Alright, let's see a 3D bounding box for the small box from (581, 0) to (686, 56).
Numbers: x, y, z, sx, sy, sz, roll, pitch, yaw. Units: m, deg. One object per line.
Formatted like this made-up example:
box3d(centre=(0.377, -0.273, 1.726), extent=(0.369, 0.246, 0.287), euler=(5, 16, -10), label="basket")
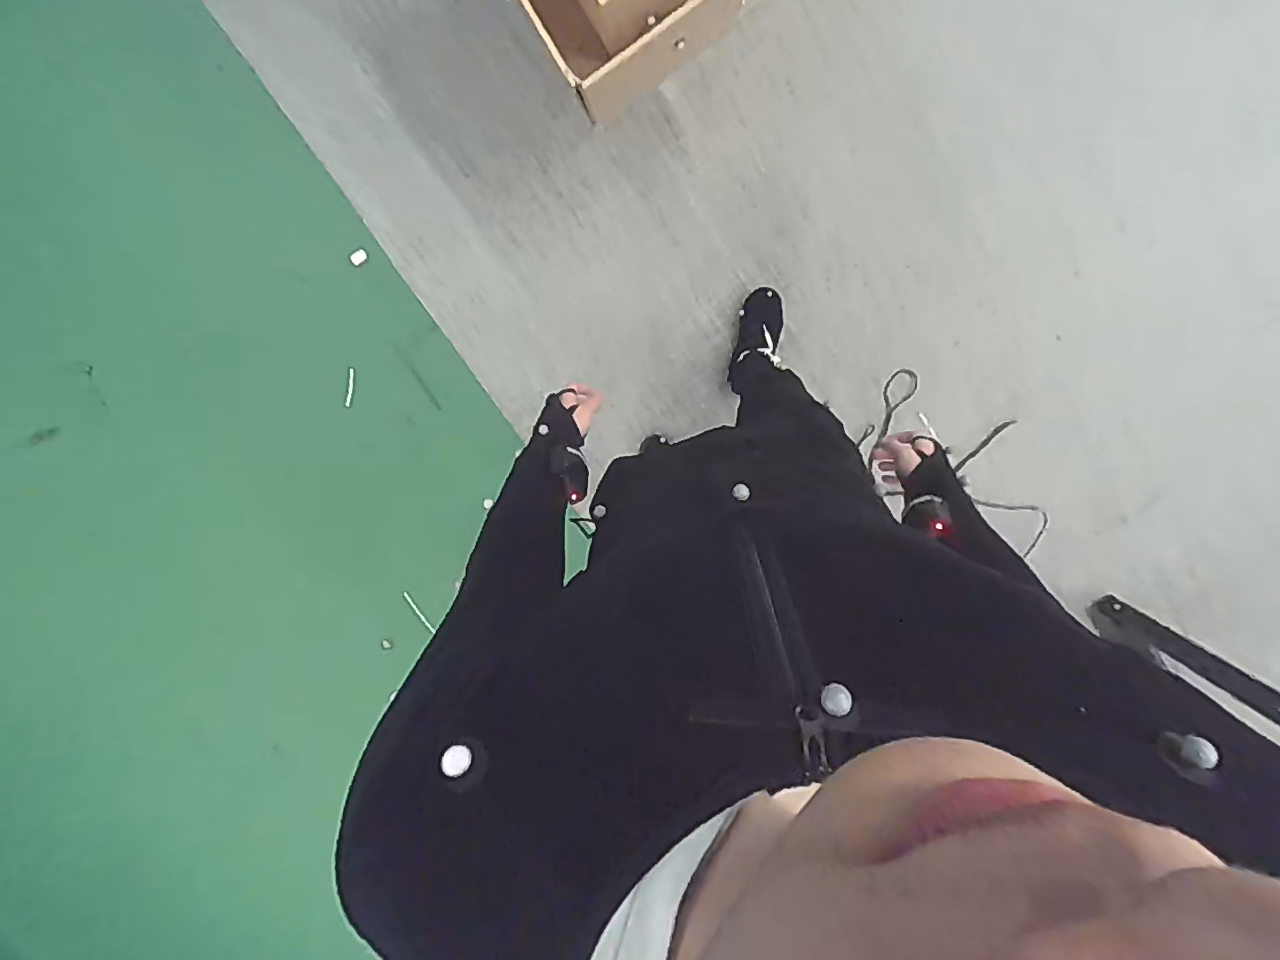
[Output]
box3d(centre=(-0.032, -0.876, 0.902), extent=(0.168, 0.176, 0.179), euler=(-30, 99, 11), label="small box")
